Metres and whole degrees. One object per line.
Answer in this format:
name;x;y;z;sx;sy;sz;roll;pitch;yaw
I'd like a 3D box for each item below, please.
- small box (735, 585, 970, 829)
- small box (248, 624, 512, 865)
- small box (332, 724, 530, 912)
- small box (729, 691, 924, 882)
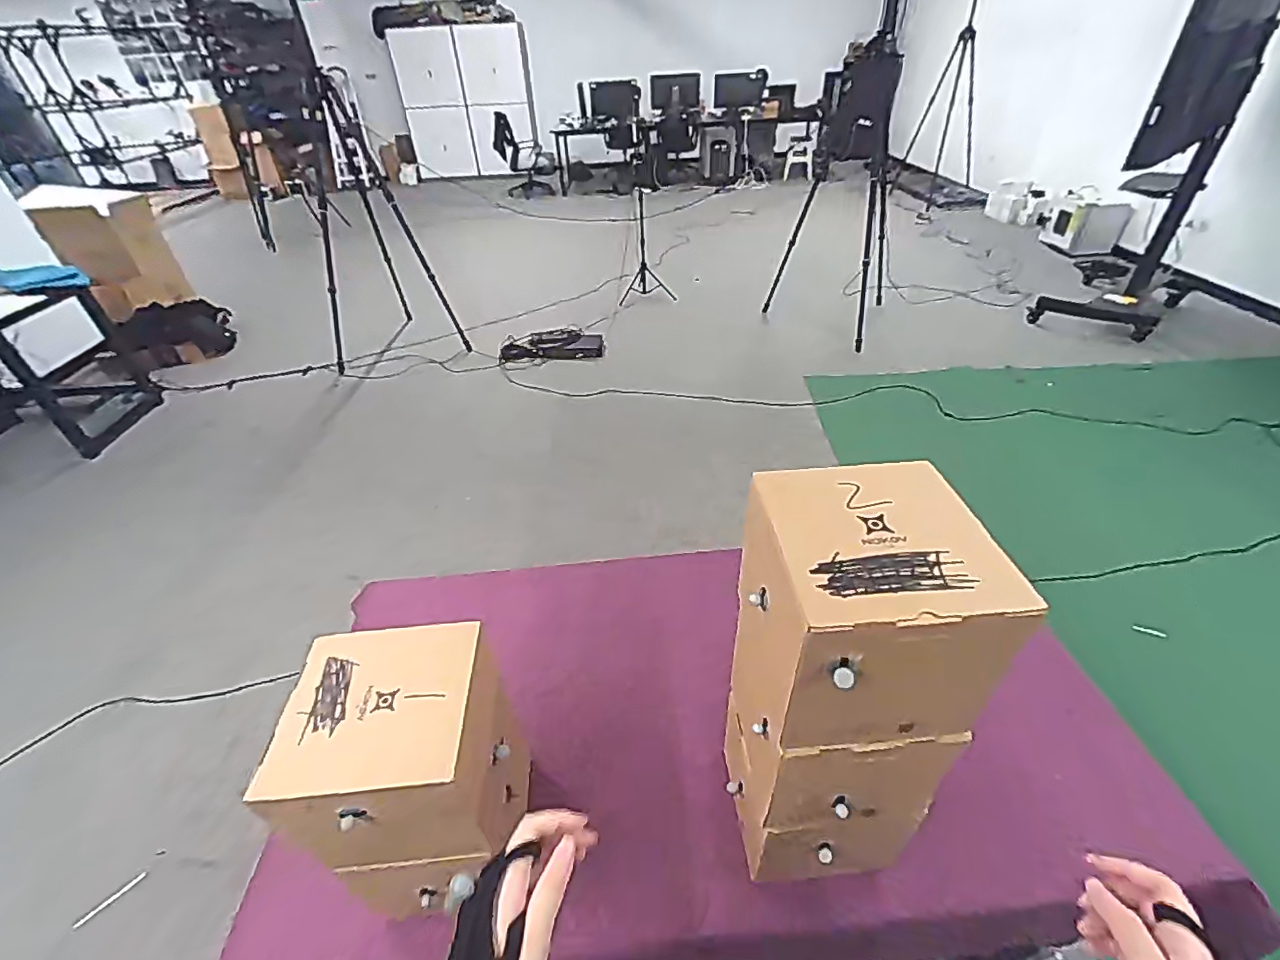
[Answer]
small box;0.200;0.237;0.575;0.168;0.176;0.179;-5;39;-1
small box;-0.244;0.274;0.563;0.179;0.176;0.168;-5;39;-2
small box;-0.235;0.403;0.665;0.168;0.176;0.179;-4;38;-2
small box;0.212;0.370;0.670;0.179;0.176;0.168;-6;38;-2
